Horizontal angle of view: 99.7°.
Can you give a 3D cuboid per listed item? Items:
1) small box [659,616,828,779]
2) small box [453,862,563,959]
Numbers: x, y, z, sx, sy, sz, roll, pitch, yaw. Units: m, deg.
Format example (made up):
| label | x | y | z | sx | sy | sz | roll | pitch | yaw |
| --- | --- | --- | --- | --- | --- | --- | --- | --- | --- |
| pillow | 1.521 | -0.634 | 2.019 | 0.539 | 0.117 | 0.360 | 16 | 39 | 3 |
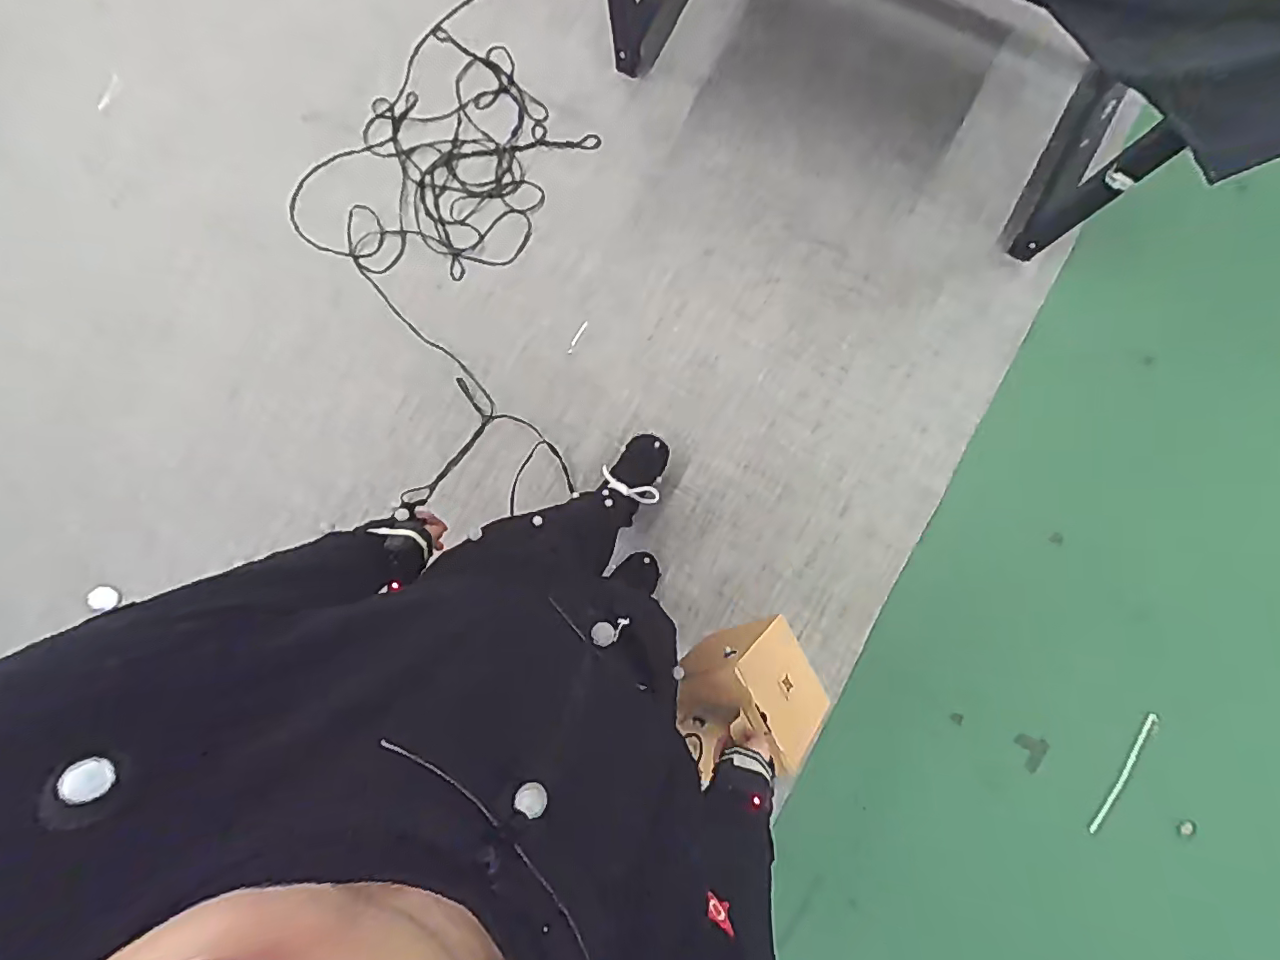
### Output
| label | x | y | z | sx | sy | sz | roll | pitch | yaw |
| --- | --- | --- | --- | --- | --- | --- | --- | --- | --- |
| small box | 0.161 | 0.340 | 0.851 | 0.176 | 0.179 | 0.168 | -30 | 85 | 38 |
| small box | -0.298 | 1.032 | 1.251 | 0.168 | 0.176 | 0.179 | -26 | 87 | 3 |
